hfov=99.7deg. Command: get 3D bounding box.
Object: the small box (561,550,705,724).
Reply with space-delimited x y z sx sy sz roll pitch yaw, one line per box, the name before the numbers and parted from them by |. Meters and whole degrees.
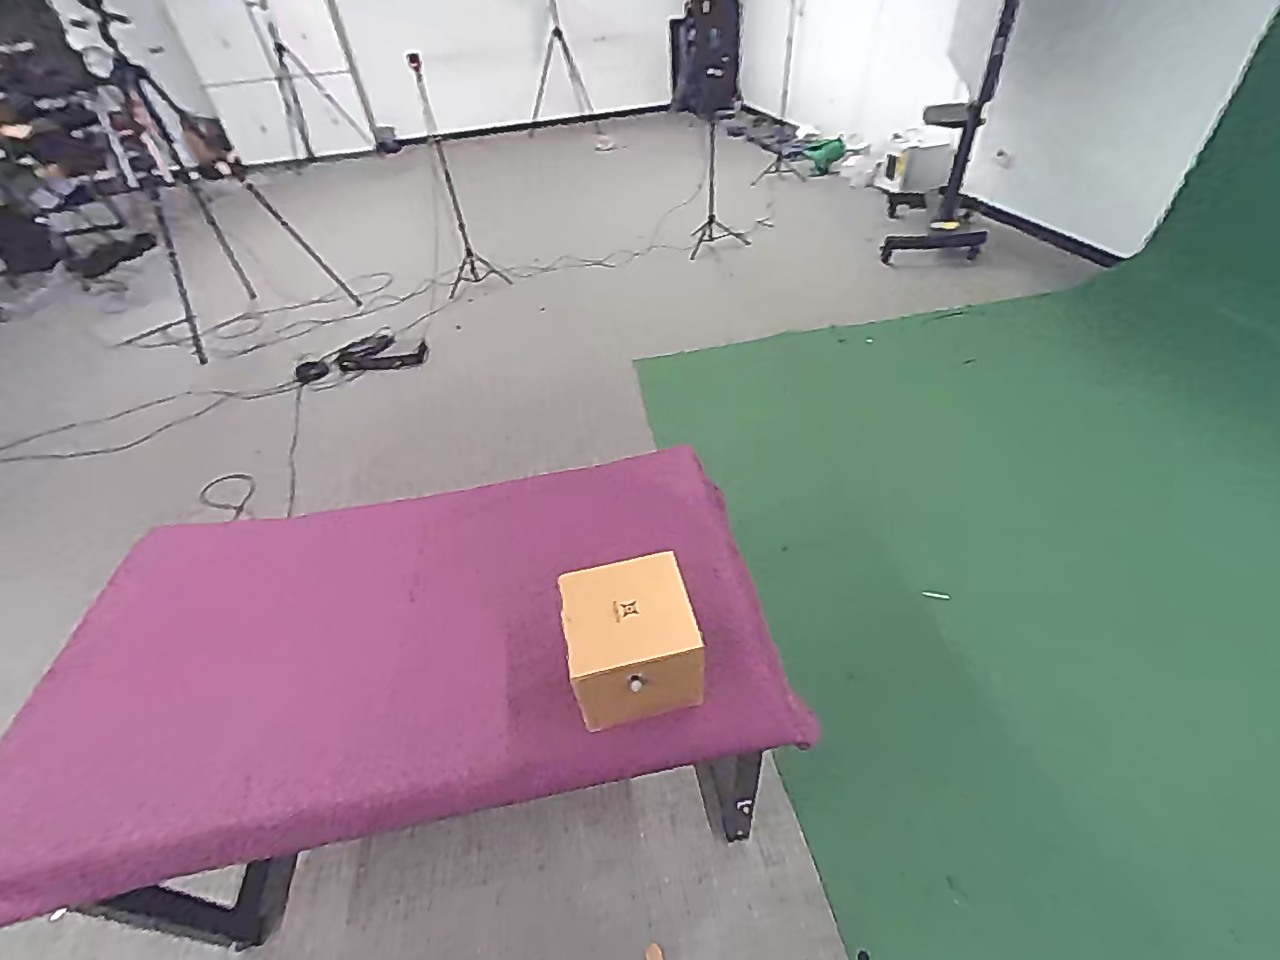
small box | -0.009 0.234 0.803 0.179 0.176 0.168 -14 44 -4
